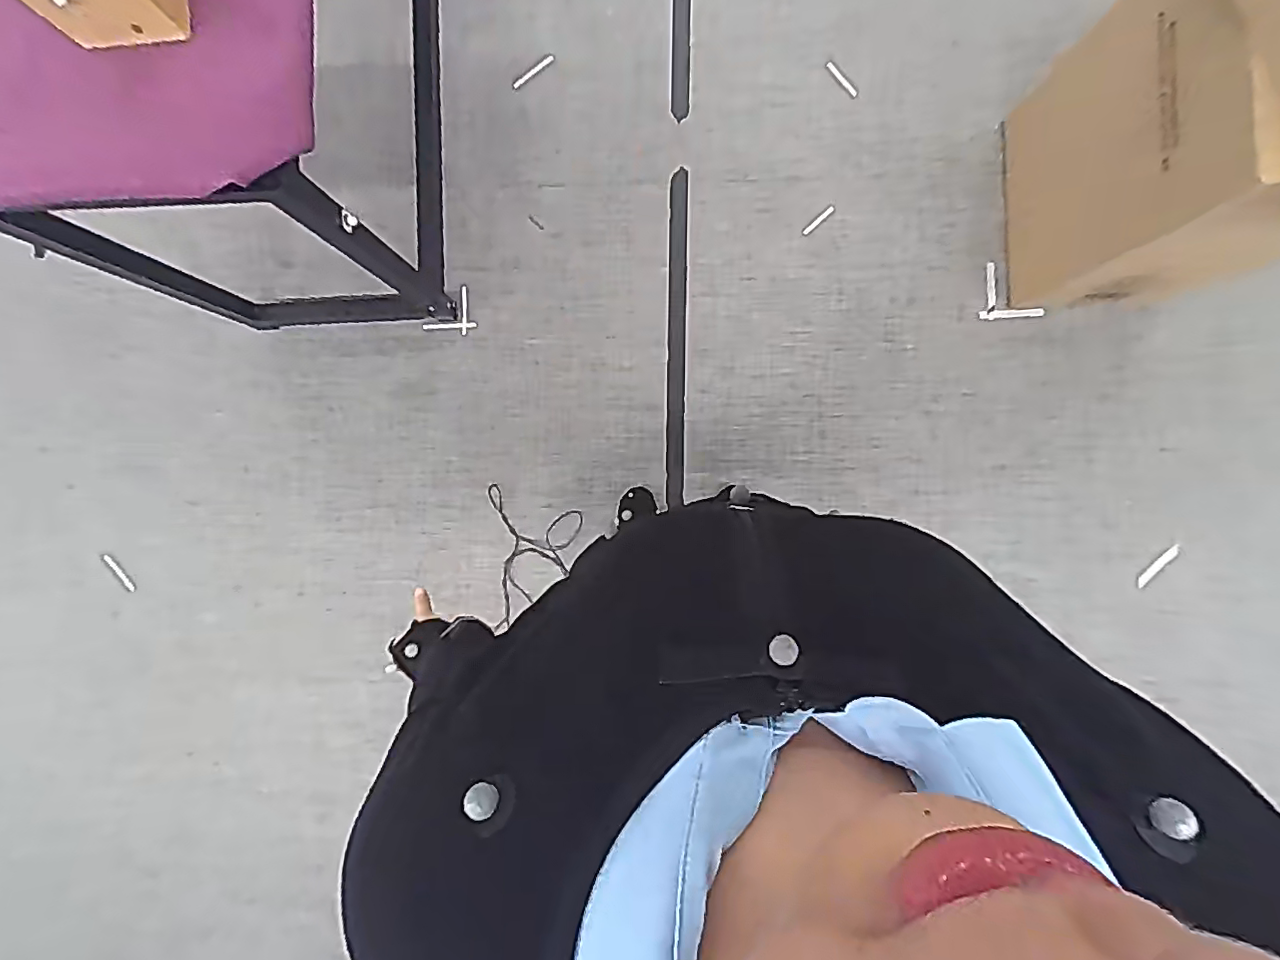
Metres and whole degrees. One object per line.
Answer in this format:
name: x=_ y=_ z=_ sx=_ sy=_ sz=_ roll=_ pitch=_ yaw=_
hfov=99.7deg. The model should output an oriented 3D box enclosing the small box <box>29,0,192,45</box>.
small box: x=-0.755 y=-0.735 z=0.734 sx=0.168 sy=0.176 sz=0.179 roll=-4 pitch=89 yaw=2
